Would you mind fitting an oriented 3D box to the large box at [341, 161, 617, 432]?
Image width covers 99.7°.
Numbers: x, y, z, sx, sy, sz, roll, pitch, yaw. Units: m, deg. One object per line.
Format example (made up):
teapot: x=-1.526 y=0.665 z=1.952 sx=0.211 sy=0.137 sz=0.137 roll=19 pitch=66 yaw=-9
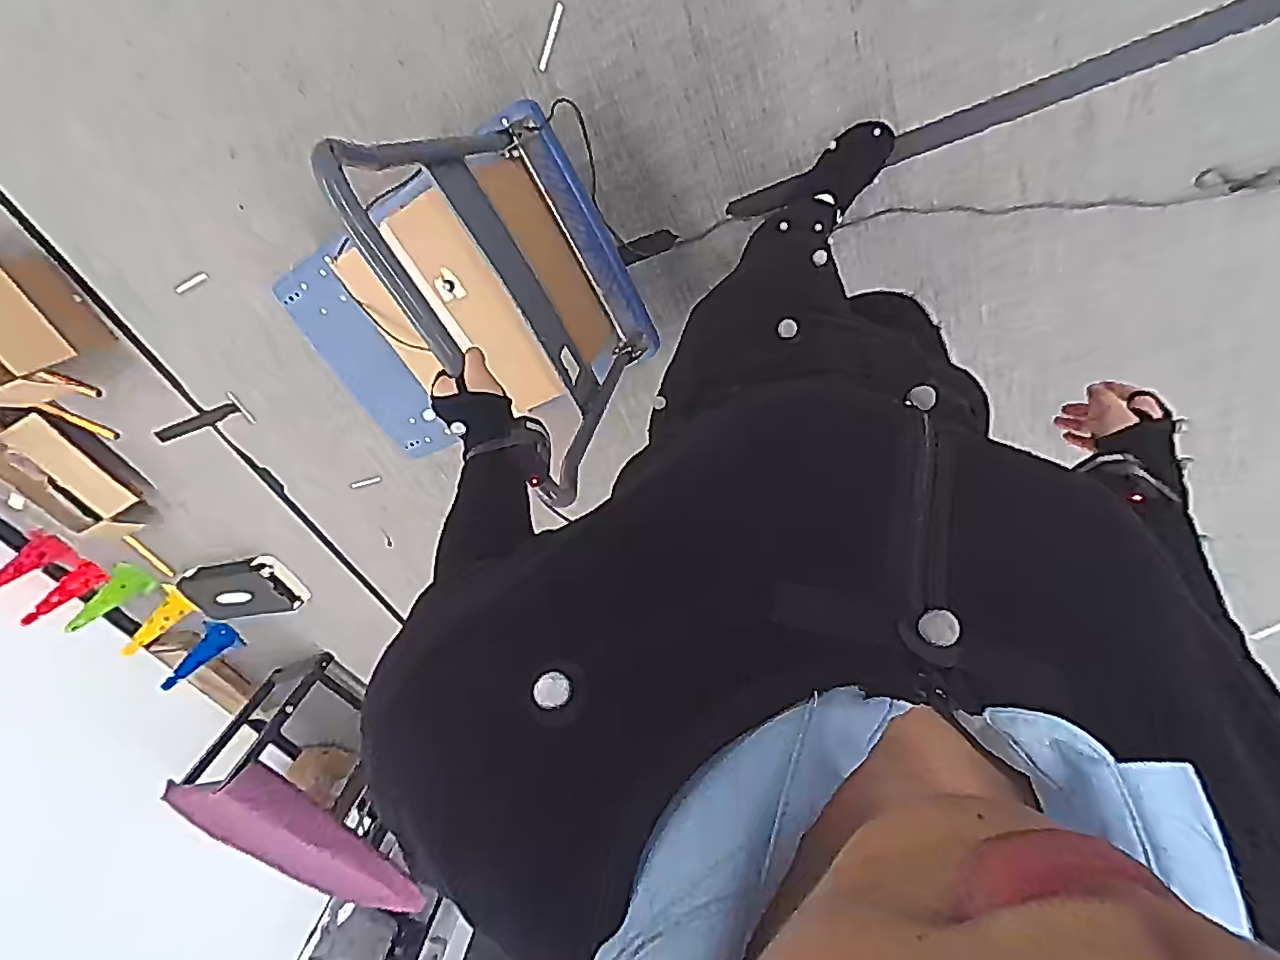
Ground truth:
large box: x=-0.304 y=-0.381 z=1.143 sx=0.320 sy=0.320 sz=0.408 roll=-19 pitch=118 yaw=25
